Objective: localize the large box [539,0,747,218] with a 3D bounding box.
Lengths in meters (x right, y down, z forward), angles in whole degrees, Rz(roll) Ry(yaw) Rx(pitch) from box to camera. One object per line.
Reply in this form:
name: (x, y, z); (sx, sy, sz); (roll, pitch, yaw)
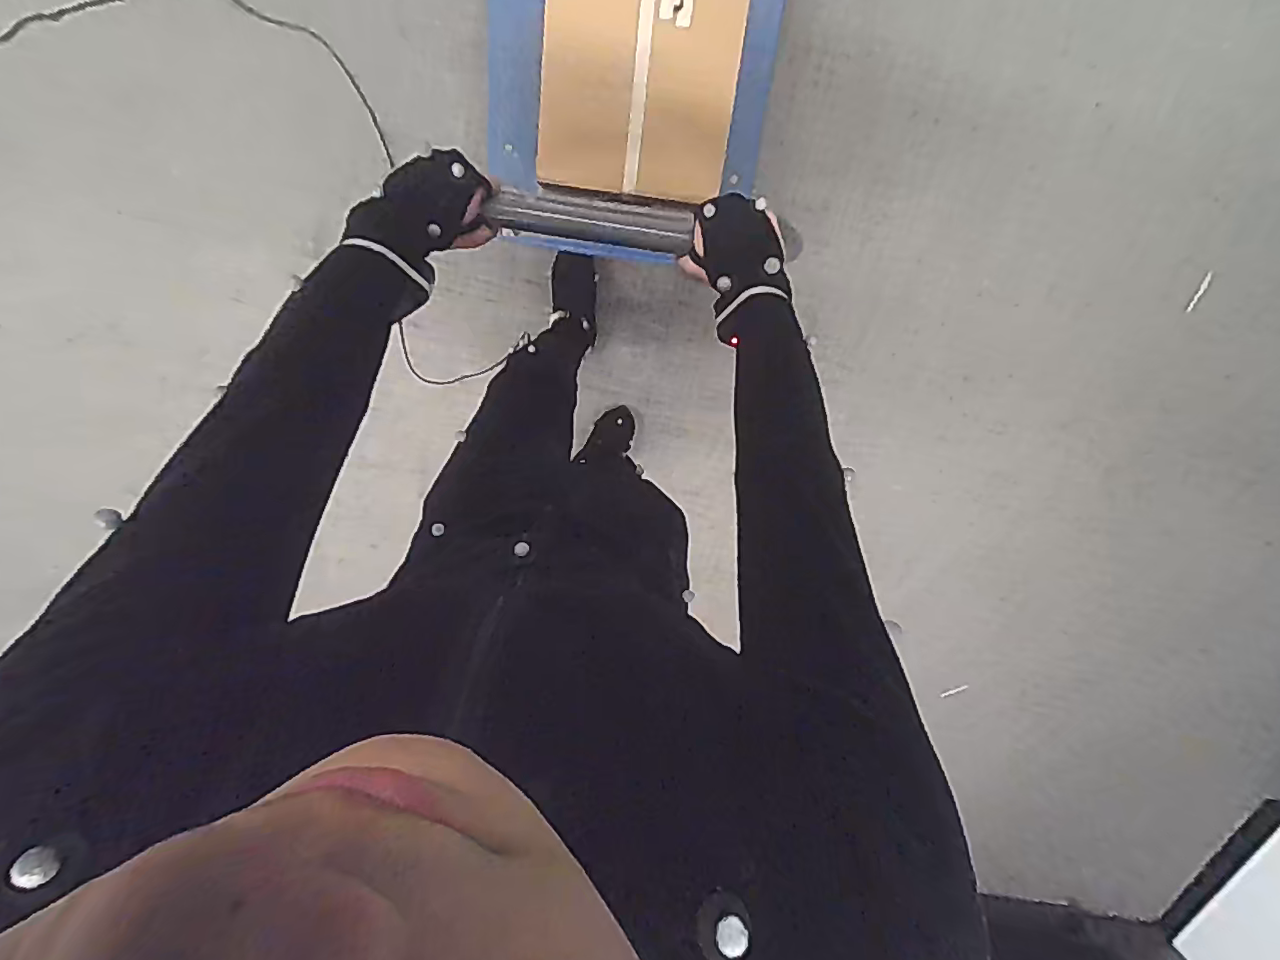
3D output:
large box: (0.001, -0.731, 0.998); (0.320, 0.320, 0.408); (6, 110, -4)
